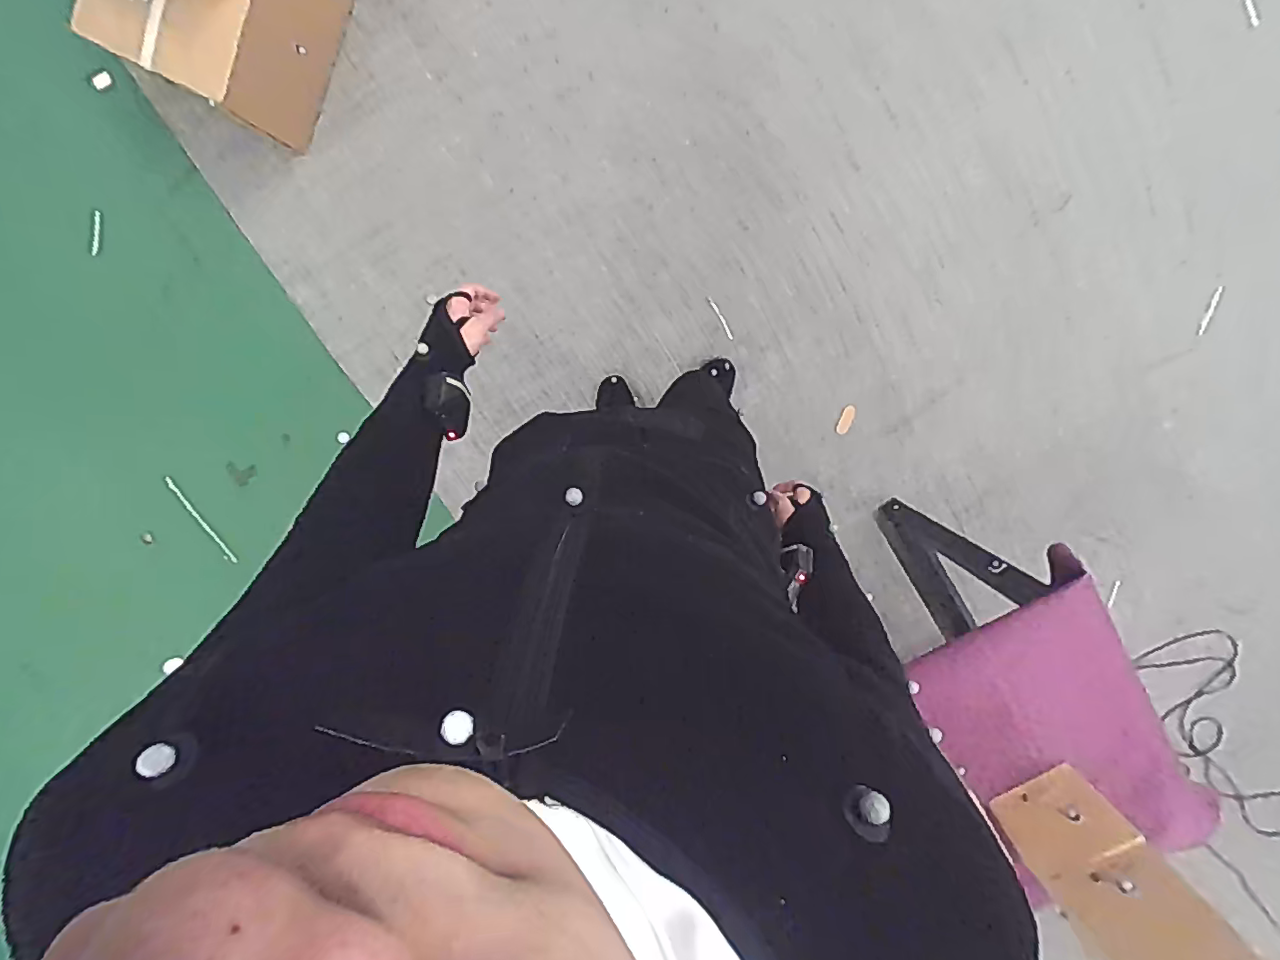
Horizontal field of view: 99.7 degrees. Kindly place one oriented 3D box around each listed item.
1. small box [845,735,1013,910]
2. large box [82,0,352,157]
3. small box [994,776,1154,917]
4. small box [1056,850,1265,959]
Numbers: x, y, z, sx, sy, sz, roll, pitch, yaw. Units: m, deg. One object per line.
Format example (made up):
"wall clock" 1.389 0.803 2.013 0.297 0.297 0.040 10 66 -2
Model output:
"small box" 0.490 0.580 0.943 0.168 0.176 0.179 -31 103 7
"large box" -0.922 -1.046 1.221 0.320 0.320 0.408 25 102 -5
"small box" 0.786 0.670 0.971 0.168 0.176 0.179 -33 102 6
"small box" 0.785 0.713 0.812 0.168 0.176 0.179 -29 101 5
